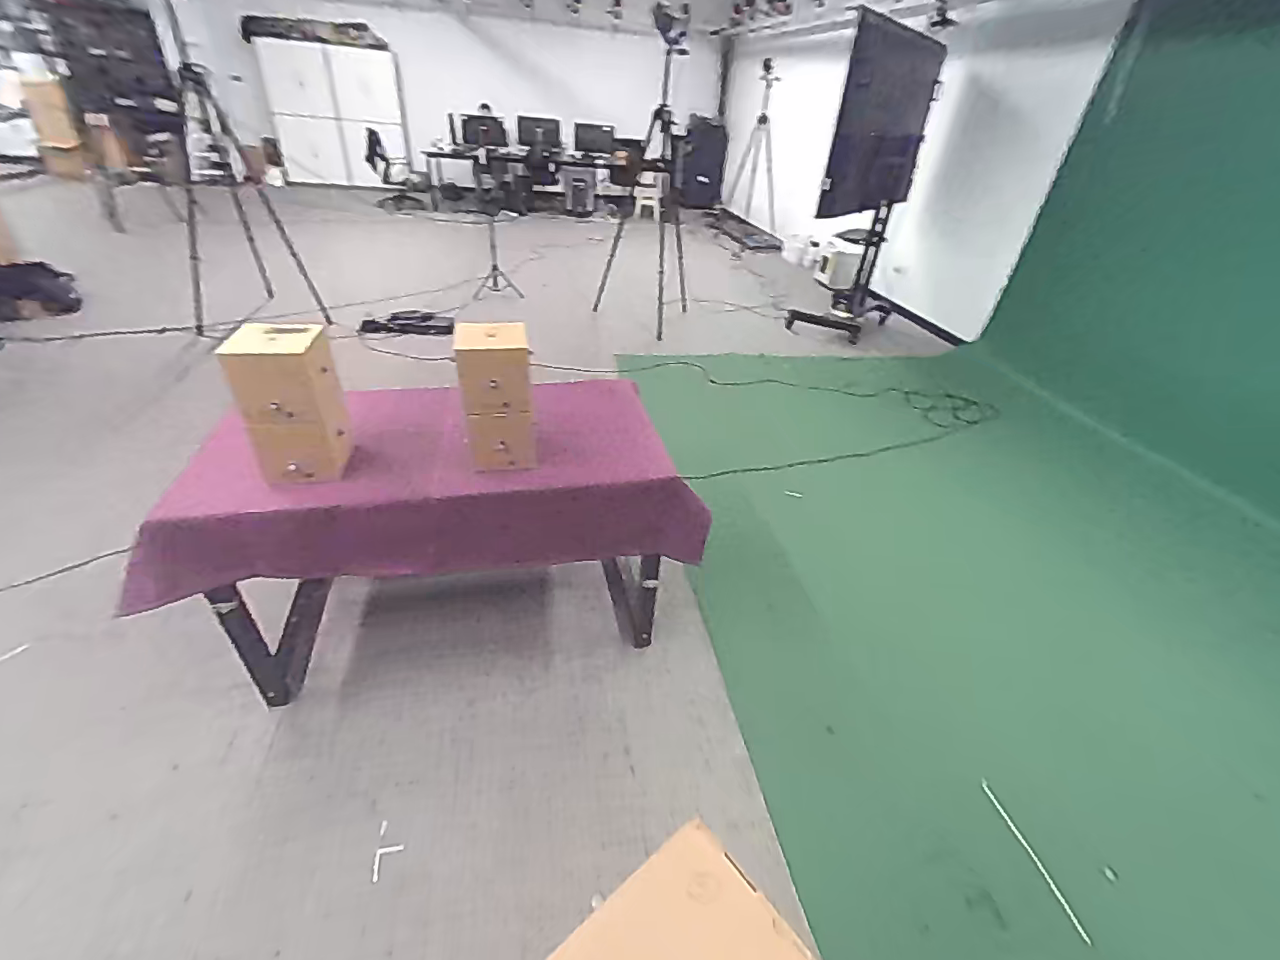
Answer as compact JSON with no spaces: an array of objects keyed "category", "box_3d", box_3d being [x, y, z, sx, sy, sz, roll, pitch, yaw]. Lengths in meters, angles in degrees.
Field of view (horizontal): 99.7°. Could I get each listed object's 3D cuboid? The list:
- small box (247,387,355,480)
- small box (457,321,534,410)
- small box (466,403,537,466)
[{"category":"small box","box_3d":[-0.814,-0.115,1.323,0.168,0.176,0.179,-3,37,-12]},{"category":"small box","box_3d":[-0.352,-0.282,1.332,0.168,0.176,0.179,-4,36,-13]},{"category":"small box","box_3d":[-0.361,-0.147,1.428,0.168,0.176,0.179,-3,37,-13]}]
